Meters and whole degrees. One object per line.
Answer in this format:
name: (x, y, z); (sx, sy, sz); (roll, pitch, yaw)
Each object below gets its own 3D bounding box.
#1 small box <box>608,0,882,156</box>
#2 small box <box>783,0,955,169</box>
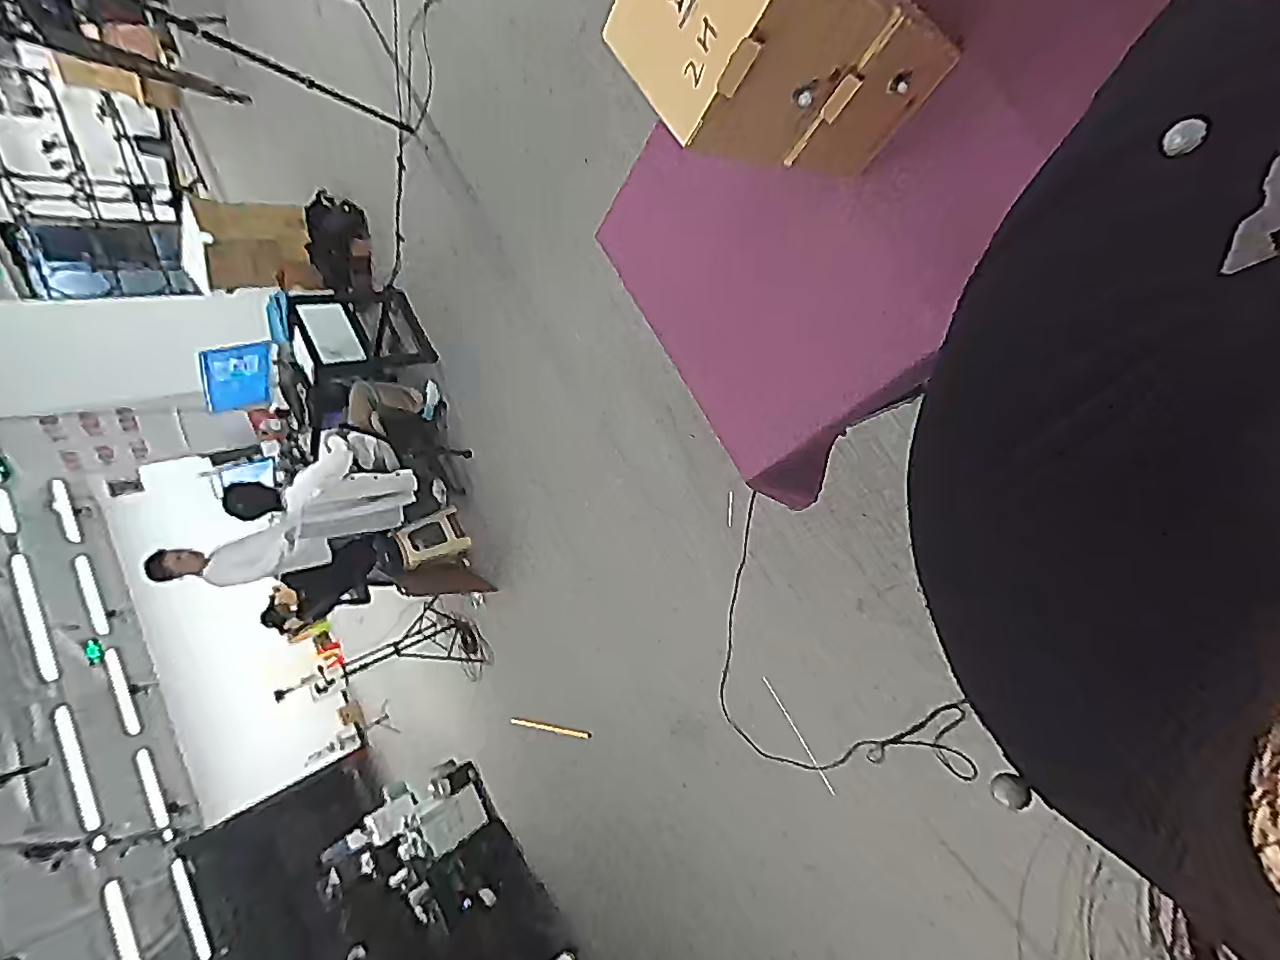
small box: (0.104, -0.464, 0.551); (0.179, 0.176, 0.168); (60, 139, 12)
small box: (0.233, -0.503, 0.647); (0.168, 0.176, 0.179); (-43, 72, 47)
